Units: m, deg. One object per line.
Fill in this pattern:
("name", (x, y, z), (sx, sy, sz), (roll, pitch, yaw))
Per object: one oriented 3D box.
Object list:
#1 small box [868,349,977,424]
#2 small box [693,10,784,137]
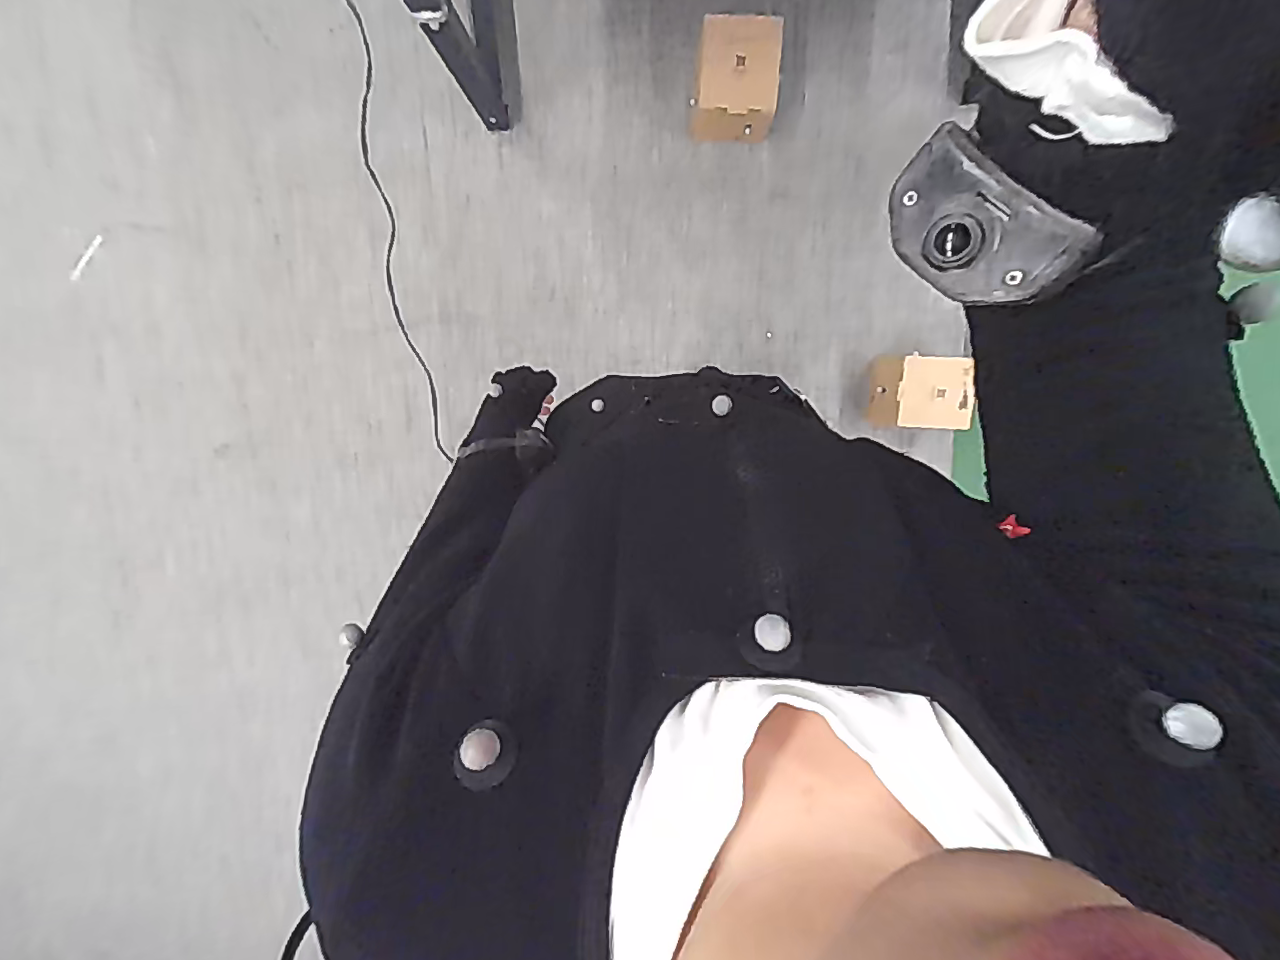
("small box", (0.685, -0.232, 1.335), (0.179, 0.176, 0.168), (3, 102, 1))
("small box", (0.211, -0.891, 1.201), (0.168, 0.176, 0.179), (2, 100, -1))
